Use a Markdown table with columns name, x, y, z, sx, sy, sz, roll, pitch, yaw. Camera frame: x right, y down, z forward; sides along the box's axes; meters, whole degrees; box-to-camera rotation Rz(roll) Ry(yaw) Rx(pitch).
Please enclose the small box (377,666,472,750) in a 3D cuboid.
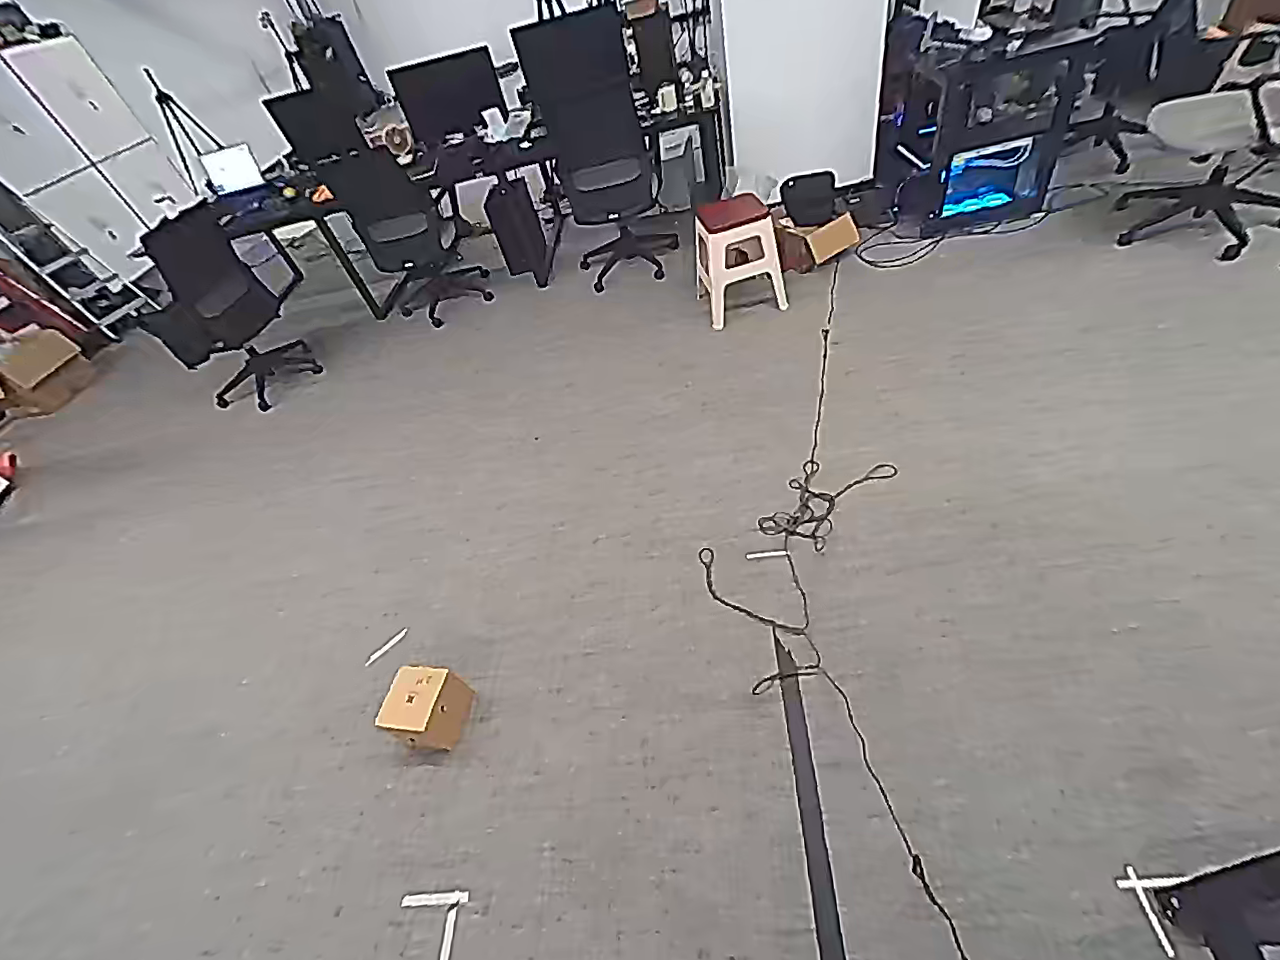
| name | x | y | z | sx | sy | sz | roll | pitch | yaw |
| --- | --- | --- | --- | --- | --- | --- | --- | --- | --- |
| small box | -0.615 | 0.666 | 1.573 | 0.168 | 0.176 | 0.179 | -1 | 47 | 16 |
